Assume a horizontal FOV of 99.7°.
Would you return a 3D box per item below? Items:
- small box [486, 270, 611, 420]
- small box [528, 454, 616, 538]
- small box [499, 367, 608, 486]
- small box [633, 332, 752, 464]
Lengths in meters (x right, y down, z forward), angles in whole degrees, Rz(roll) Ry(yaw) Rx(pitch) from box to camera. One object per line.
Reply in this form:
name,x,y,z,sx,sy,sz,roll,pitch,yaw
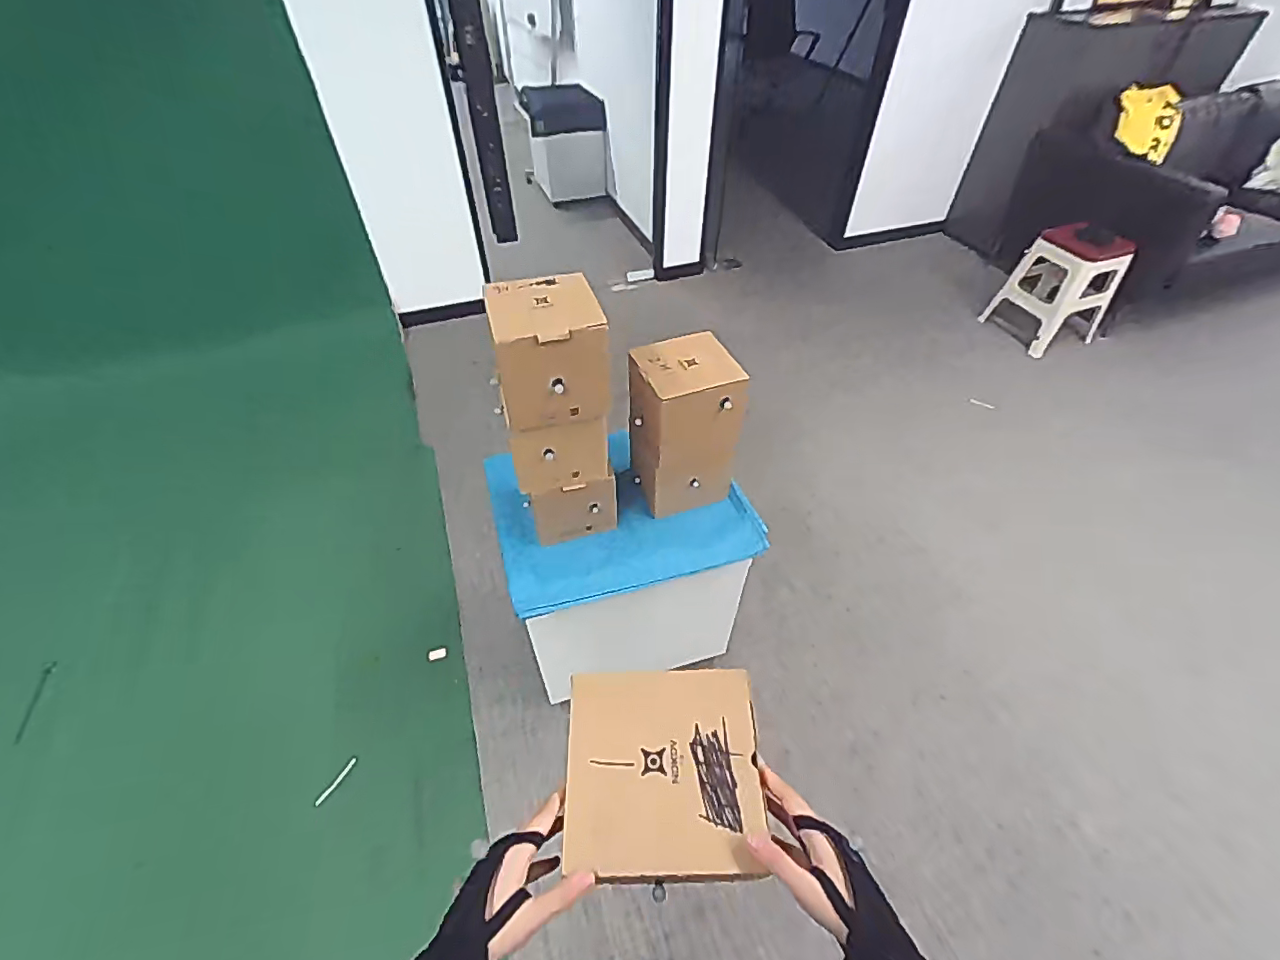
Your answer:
small box,-0.145,-0.211,0.872,0.168,0.176,0.179,-11,48,-12
small box,-0.147,0.002,1.117,0.168,0.176,0.179,-11,48,-13
small box,-0.156,-0.106,0.997,0.168,0.176,0.179,-11,47,-12
small box,0.091,-0.157,1.041,0.179,0.176,0.168,-16,49,-13
